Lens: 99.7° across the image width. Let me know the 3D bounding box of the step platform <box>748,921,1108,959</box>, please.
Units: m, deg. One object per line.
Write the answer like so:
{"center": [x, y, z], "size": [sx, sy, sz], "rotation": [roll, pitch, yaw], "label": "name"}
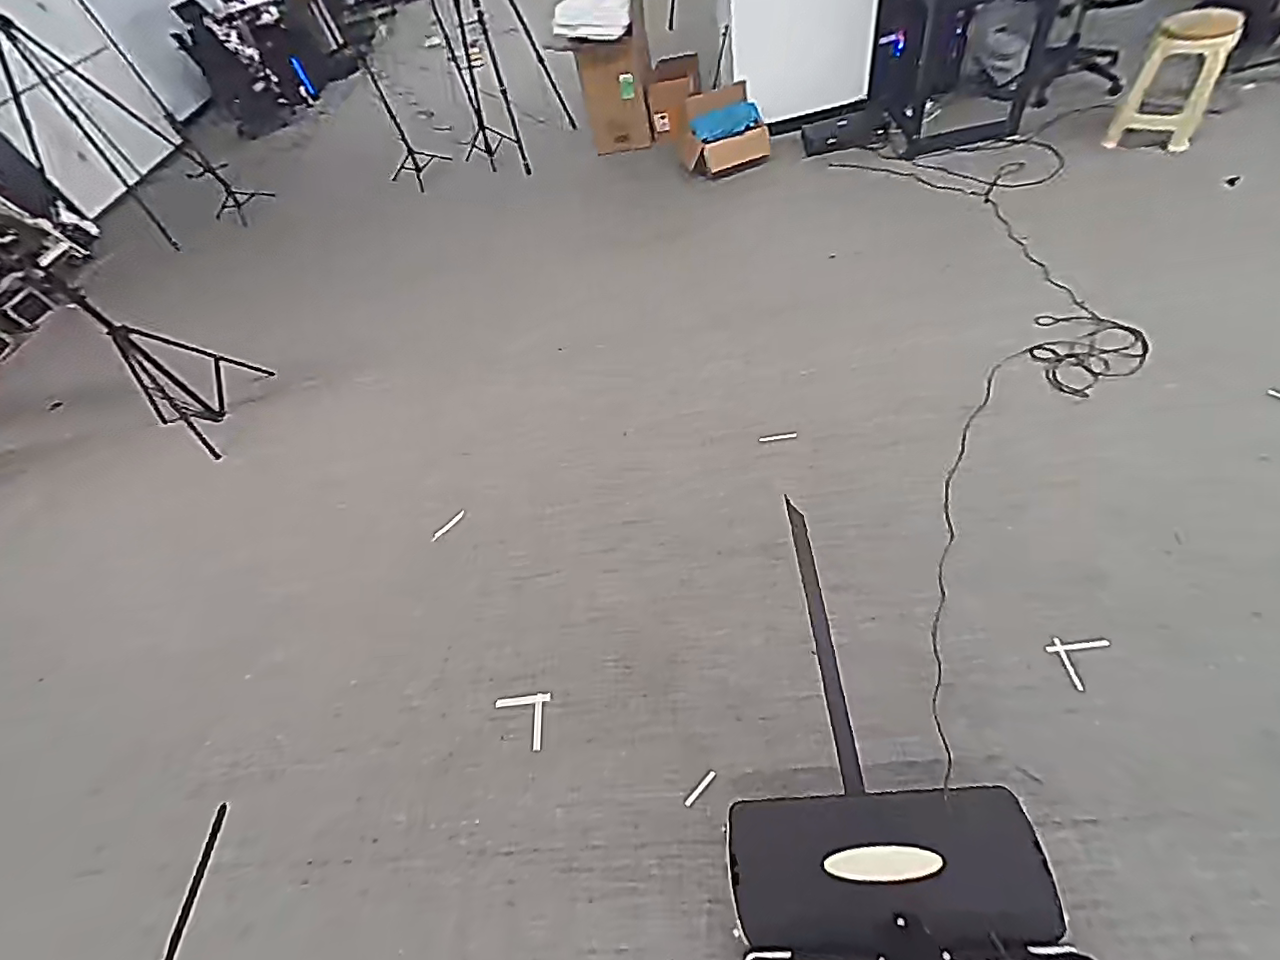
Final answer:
{"center": [0.555, 1.041, 1.030], "size": [0.684, 0.204, 0.286], "rotation": [-10, 52, 9], "label": "step platform"}
